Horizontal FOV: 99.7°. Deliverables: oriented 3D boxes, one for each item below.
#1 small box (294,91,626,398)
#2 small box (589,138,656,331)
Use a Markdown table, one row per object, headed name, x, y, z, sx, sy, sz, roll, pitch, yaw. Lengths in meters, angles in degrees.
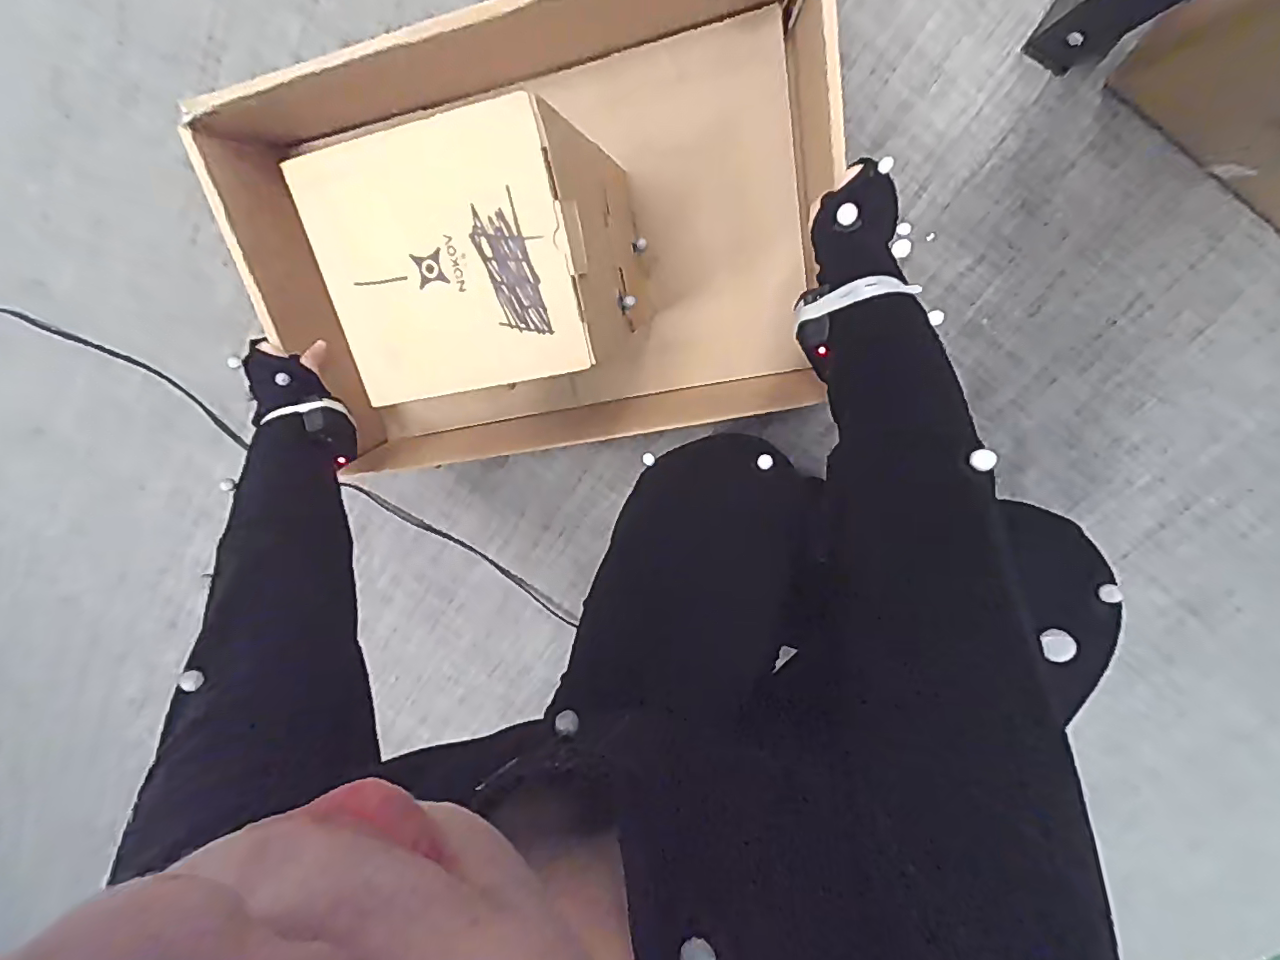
| name | x | y | z | sx | sy | sz | roll | pitch | yaw |
| --- | --- | --- | --- | --- | --- | --- | --- | --- | --- |
| small box | -0.114 | -0.176 | 0.431 | 0.179 | 0.176 | 0.168 | -7 | 111 | 13 |
| small box | -0.090 | -0.240 | 0.582 | 0.179 | 0.176 | 0.168 | -8 | 111 | 12 |
